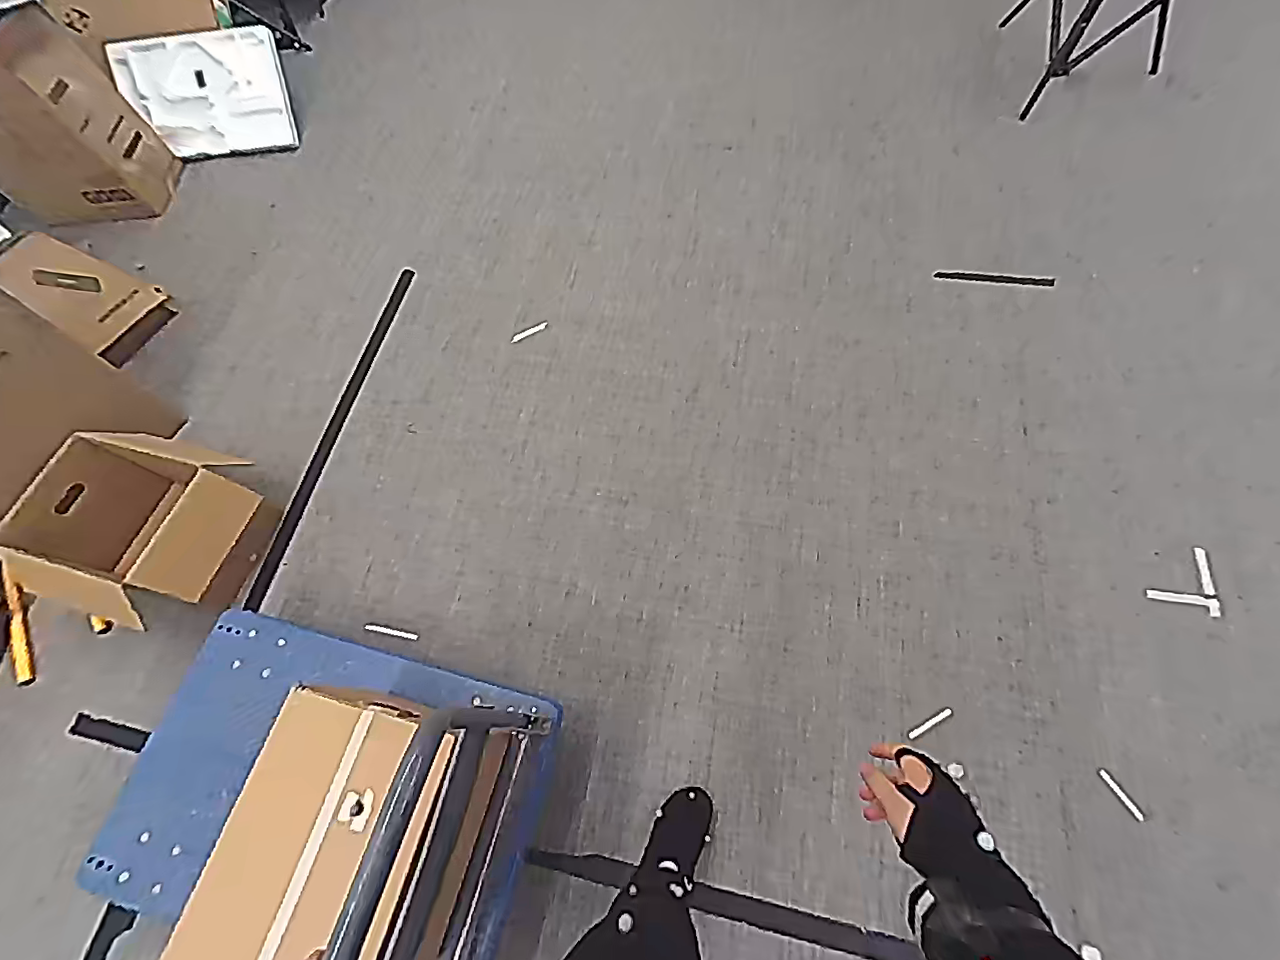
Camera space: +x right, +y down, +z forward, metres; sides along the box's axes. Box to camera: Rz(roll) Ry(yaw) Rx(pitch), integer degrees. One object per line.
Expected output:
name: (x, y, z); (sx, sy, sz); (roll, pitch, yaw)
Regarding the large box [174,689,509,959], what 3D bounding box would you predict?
large box: (-0.480, 0.631, 0.970); (0.320, 0.320, 0.408); (12, 66, 9)
